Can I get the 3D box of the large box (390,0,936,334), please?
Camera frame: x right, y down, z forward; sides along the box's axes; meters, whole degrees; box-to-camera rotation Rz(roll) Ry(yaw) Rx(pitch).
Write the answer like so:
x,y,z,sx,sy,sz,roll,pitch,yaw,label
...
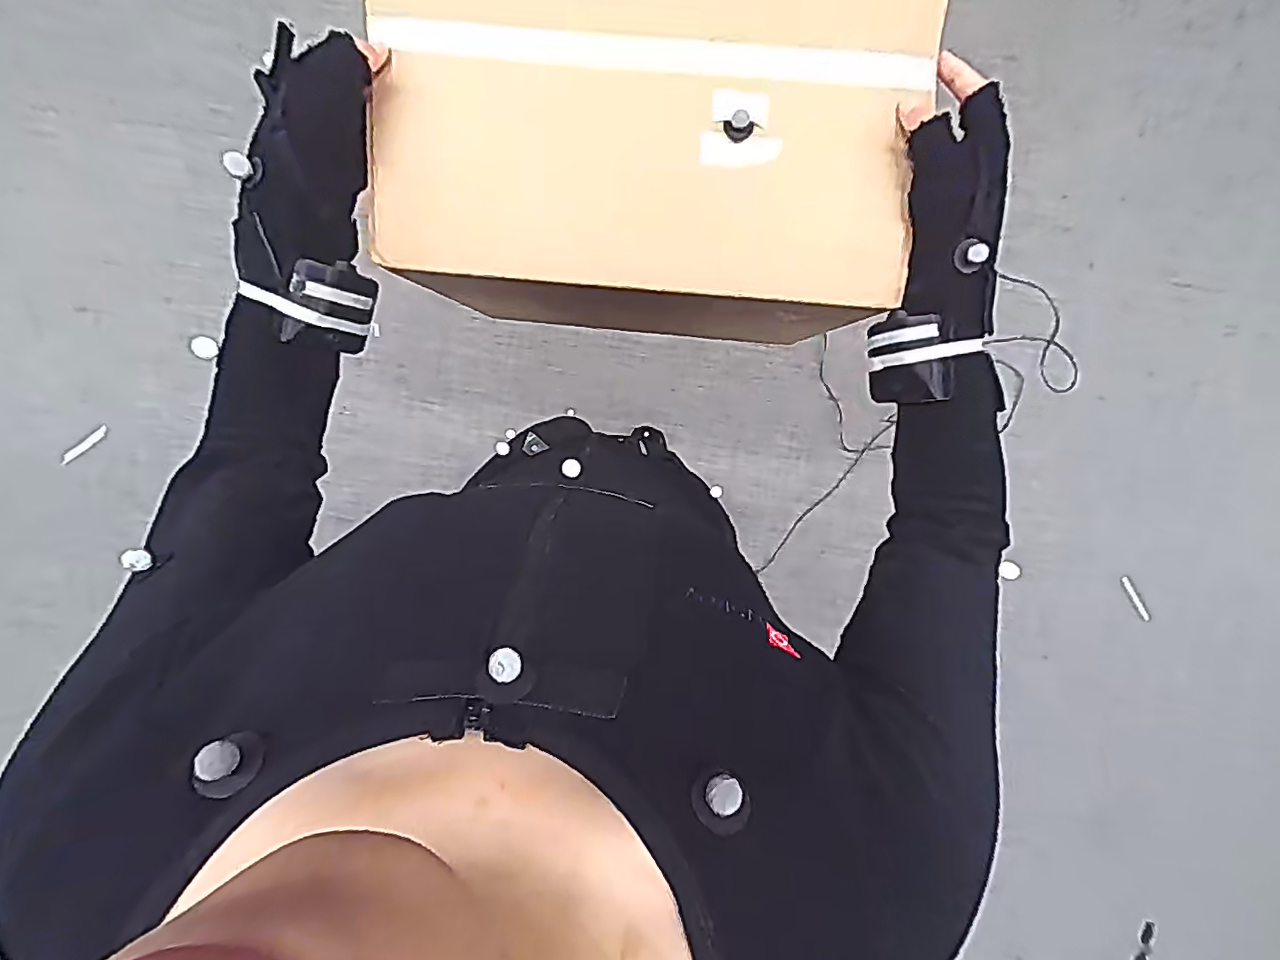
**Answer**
x,y,z,sx,sy,sz,roll,pitch,yaw,label
0.013,-0.333,0.547,0.408,0.320,0.320,4,99,0,large box
